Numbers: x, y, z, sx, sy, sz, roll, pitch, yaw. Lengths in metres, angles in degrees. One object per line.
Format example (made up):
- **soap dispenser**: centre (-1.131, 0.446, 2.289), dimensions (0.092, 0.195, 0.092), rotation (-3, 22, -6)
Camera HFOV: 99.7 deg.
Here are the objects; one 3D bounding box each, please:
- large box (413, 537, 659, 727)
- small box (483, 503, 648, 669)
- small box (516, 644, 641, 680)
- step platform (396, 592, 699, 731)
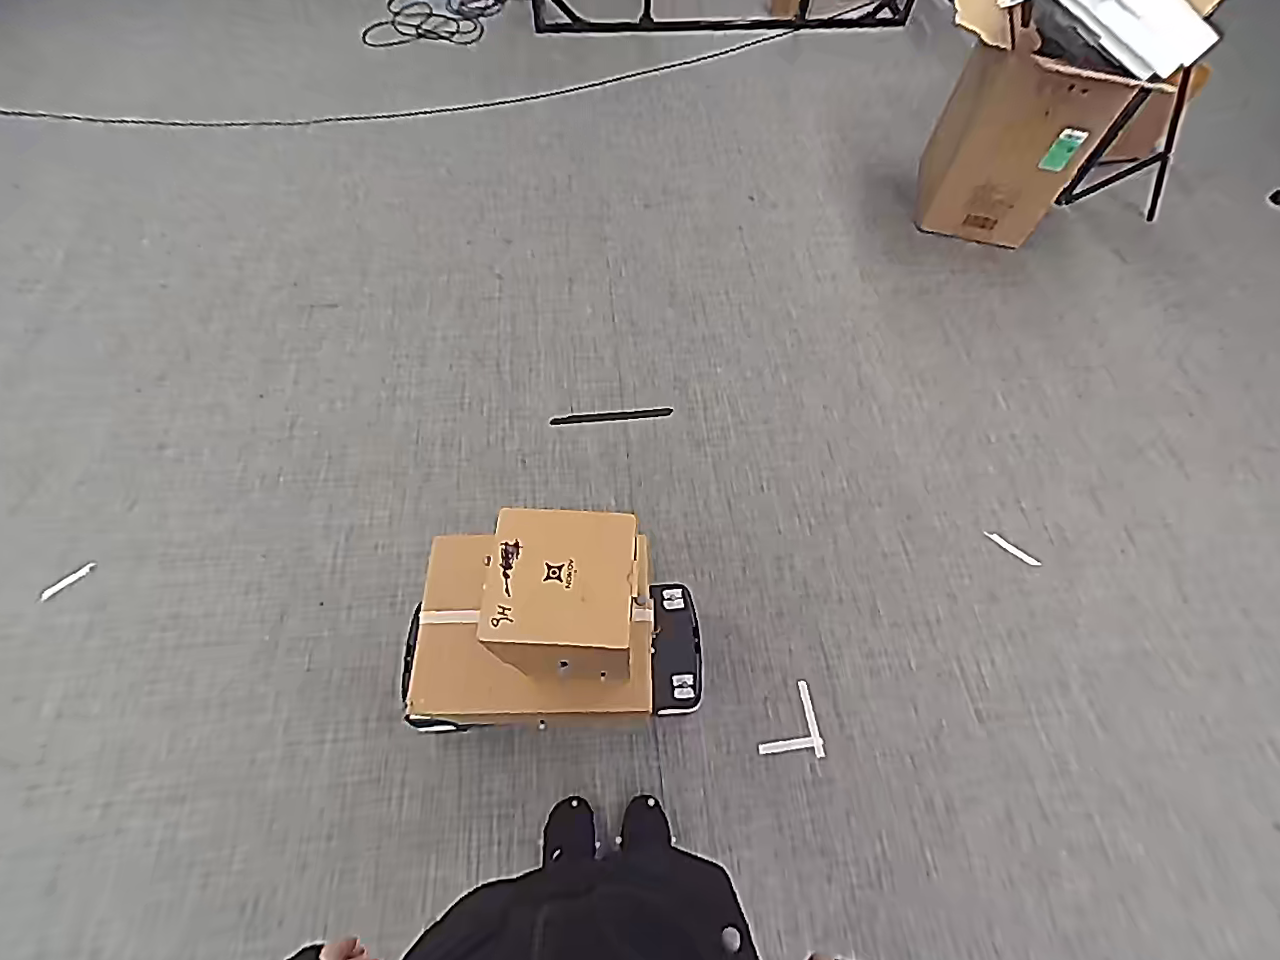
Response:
- **large box**: centre (-0.172, 0.313, 1.074), dimensions (0.408, 0.320, 0.320), rotation (-1, 61, 0)
- **small box**: centre (-0.085, 0.145, 0.703), dimensions (0.179, 0.176, 0.168), rotation (4, 61, 0)
- **small box**: centre (-0.087, 0.216, 0.851), dimensions (0.179, 0.176, 0.168), rotation (2, 62, 0)
- **step platform**: centre (-0.202, 0.428, 1.282), dimensions (0.684, 0.204, 0.286), rotation (1, 62, 0)
